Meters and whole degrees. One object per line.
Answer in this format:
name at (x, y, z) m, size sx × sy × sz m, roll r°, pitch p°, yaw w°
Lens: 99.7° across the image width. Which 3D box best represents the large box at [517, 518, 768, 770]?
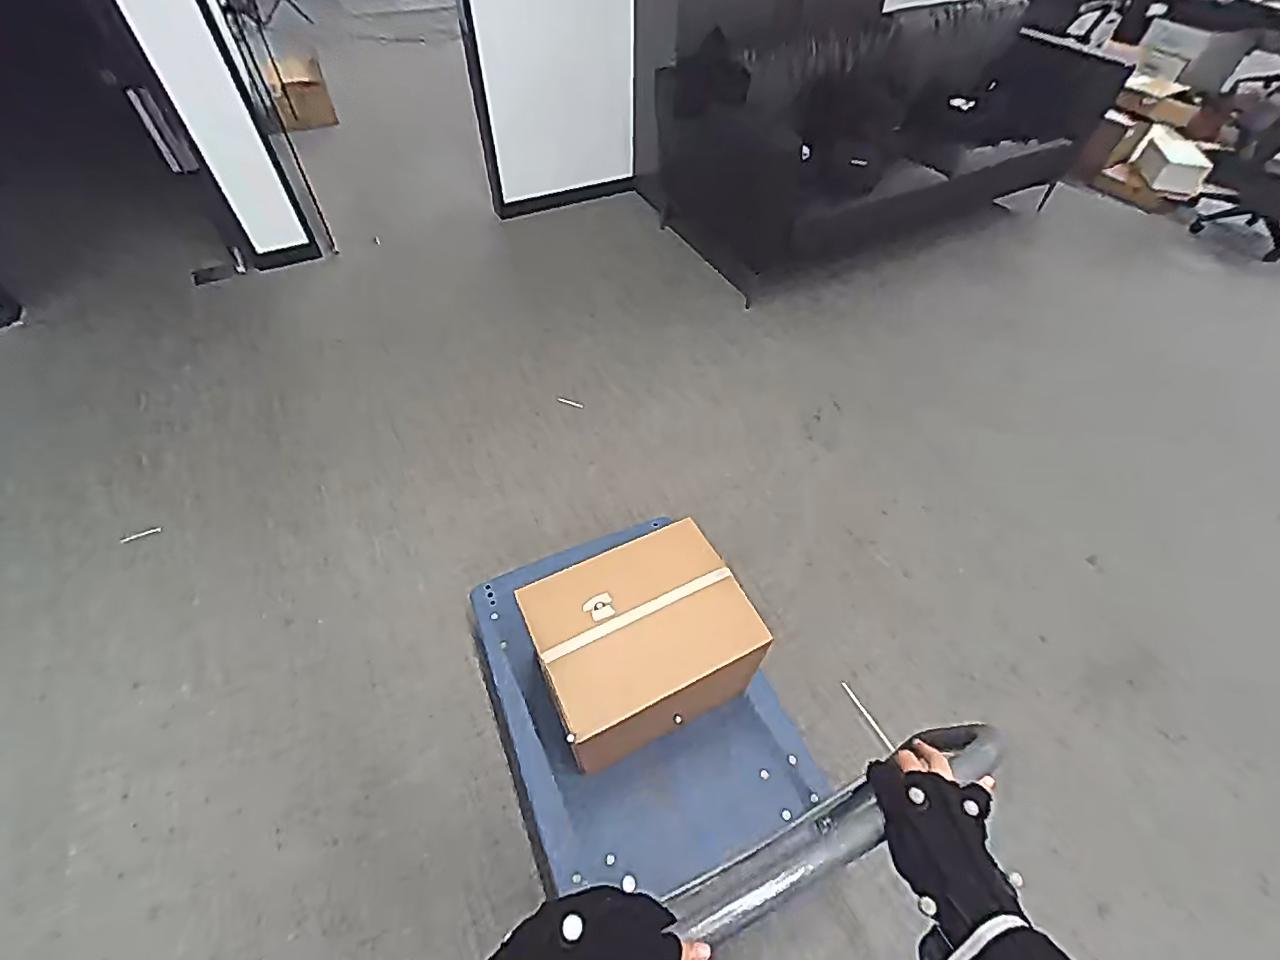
large box at (-0.002, 0.348, 1.157) m, size 0.408 × 0.320 × 0.320 m, roll -22°, pitch 56°, yaw -18°
